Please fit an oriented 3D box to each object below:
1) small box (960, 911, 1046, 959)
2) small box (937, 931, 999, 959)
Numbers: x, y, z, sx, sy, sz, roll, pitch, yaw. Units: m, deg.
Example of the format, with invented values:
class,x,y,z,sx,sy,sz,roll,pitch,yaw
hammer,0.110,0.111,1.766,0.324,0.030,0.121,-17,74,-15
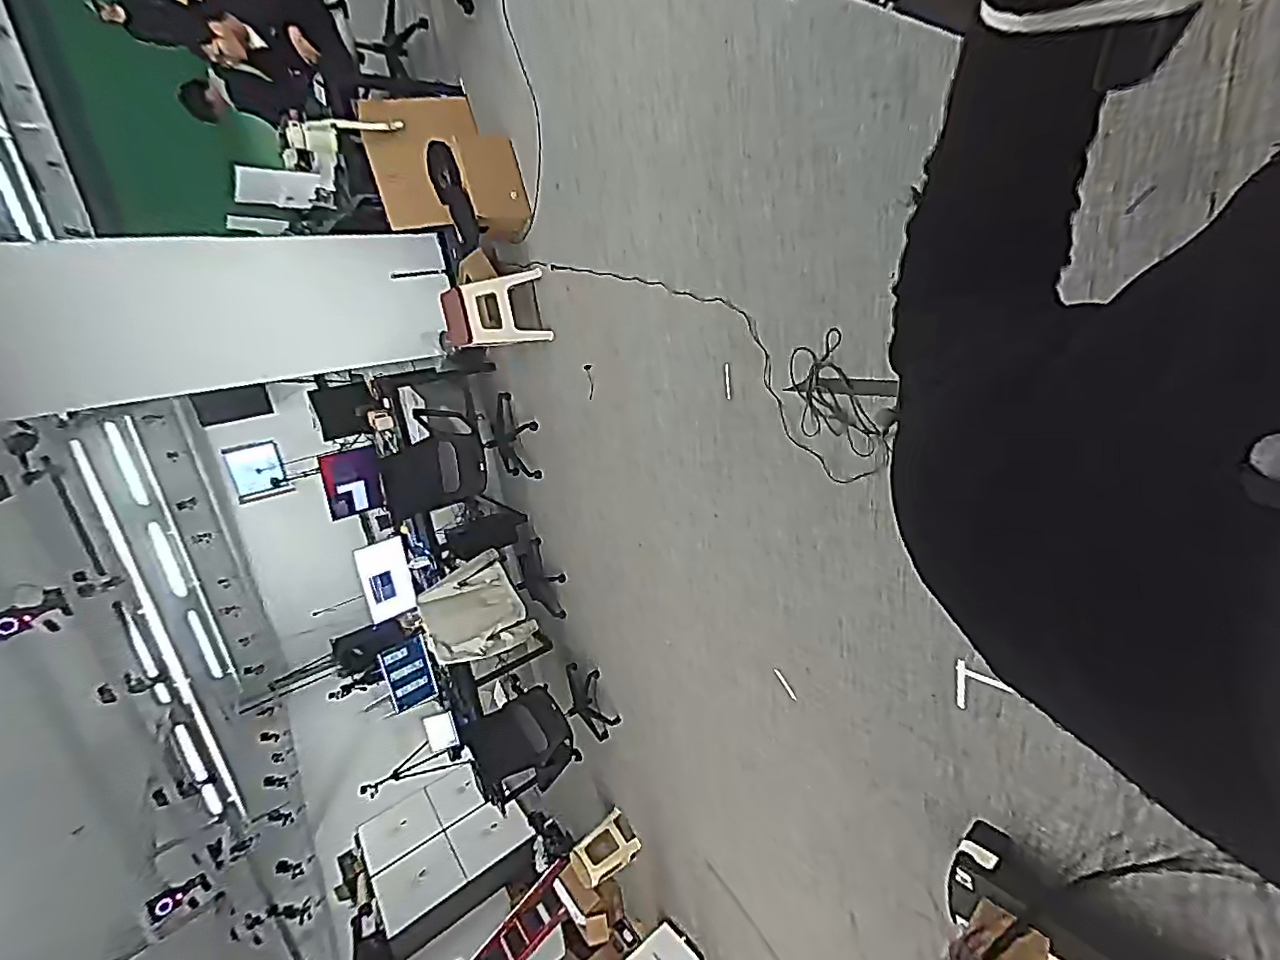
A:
class,x,y,z,sx,sy,sz,roll,pitch,yaw
small box,1.029,1.335,1.527,0.168,0.176,0.179,11,116,52
small box,0.896,1.384,1.445,0.168,0.176,0.179,11,115,52
